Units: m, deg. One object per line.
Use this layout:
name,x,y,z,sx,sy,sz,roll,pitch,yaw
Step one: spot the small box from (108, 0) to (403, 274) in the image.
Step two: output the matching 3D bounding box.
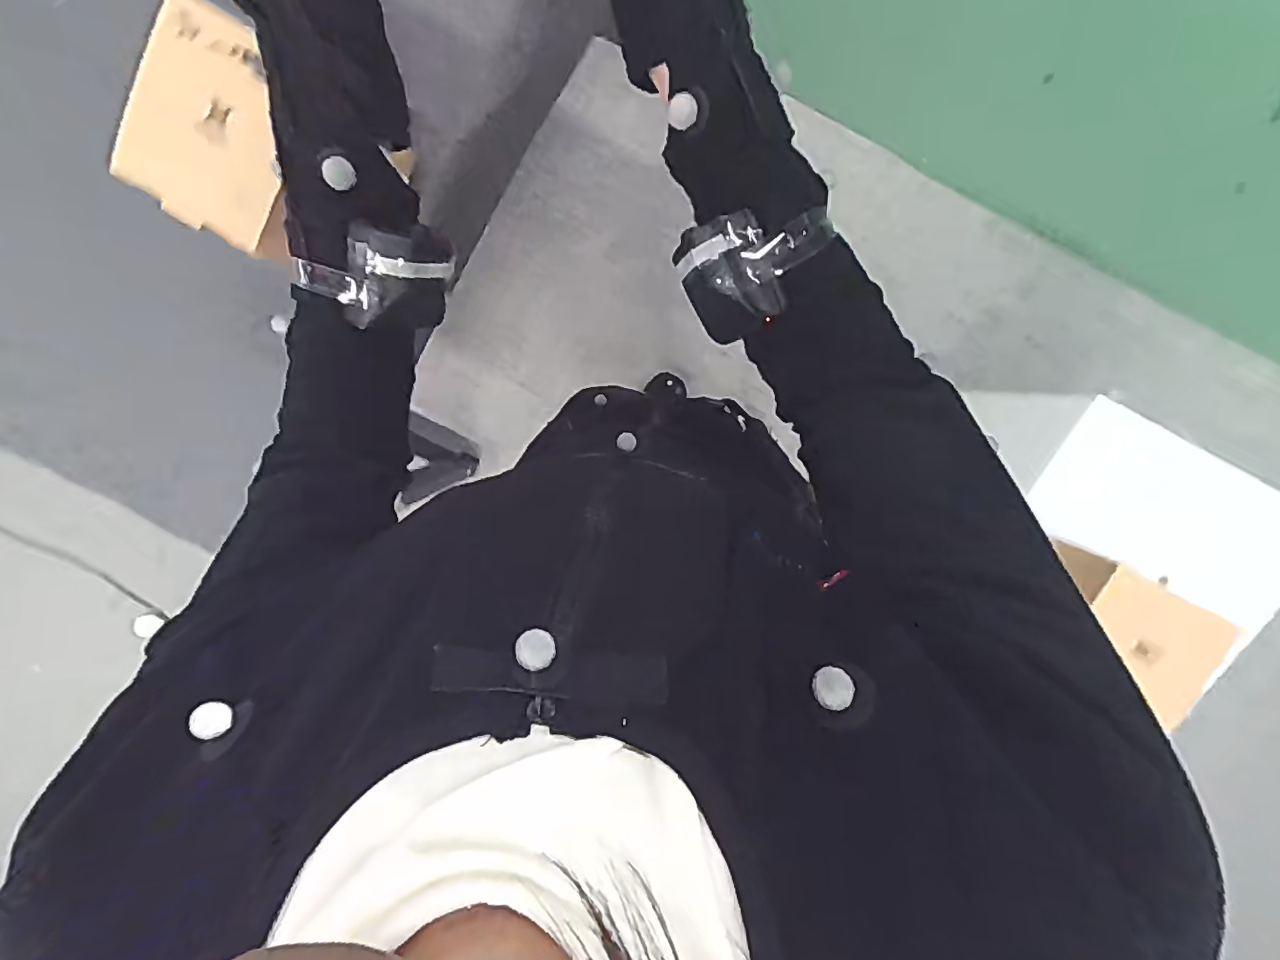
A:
small box,-0.388,-0.346,0.575,0.168,0.176,0.179,31,102,0

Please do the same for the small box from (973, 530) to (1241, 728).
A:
small box,0.606,0.186,0.730,0.179,0.176,0.168,26,101,1
